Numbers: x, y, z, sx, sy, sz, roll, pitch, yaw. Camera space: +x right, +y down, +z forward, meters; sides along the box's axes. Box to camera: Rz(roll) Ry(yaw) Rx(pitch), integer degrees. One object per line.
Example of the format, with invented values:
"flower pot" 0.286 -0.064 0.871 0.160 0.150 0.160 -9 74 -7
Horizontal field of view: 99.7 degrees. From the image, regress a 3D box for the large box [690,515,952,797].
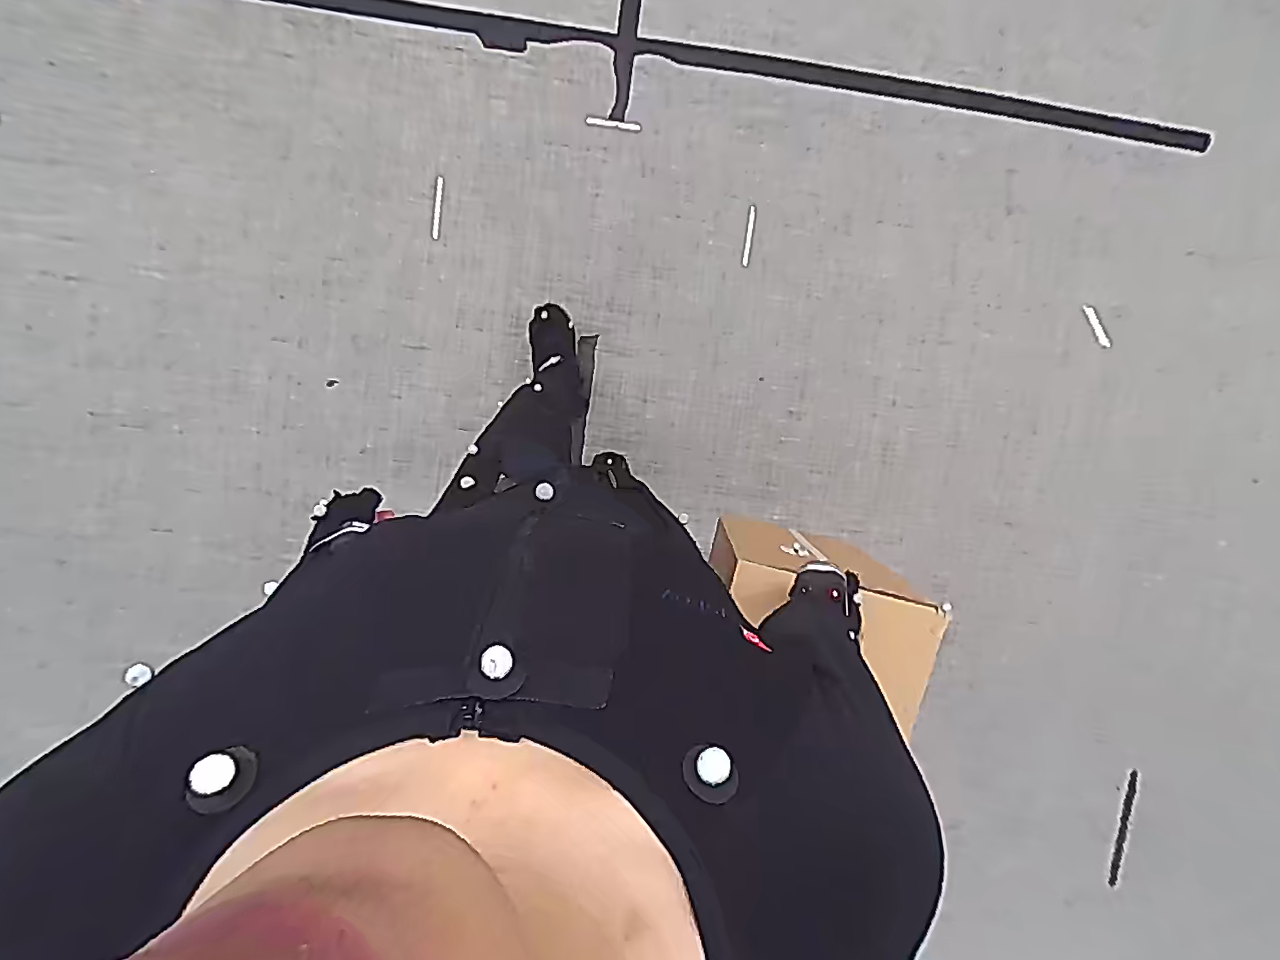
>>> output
"large box" 0.282 0.282 1.001 0.320 0.408 0.320 13 97 3
